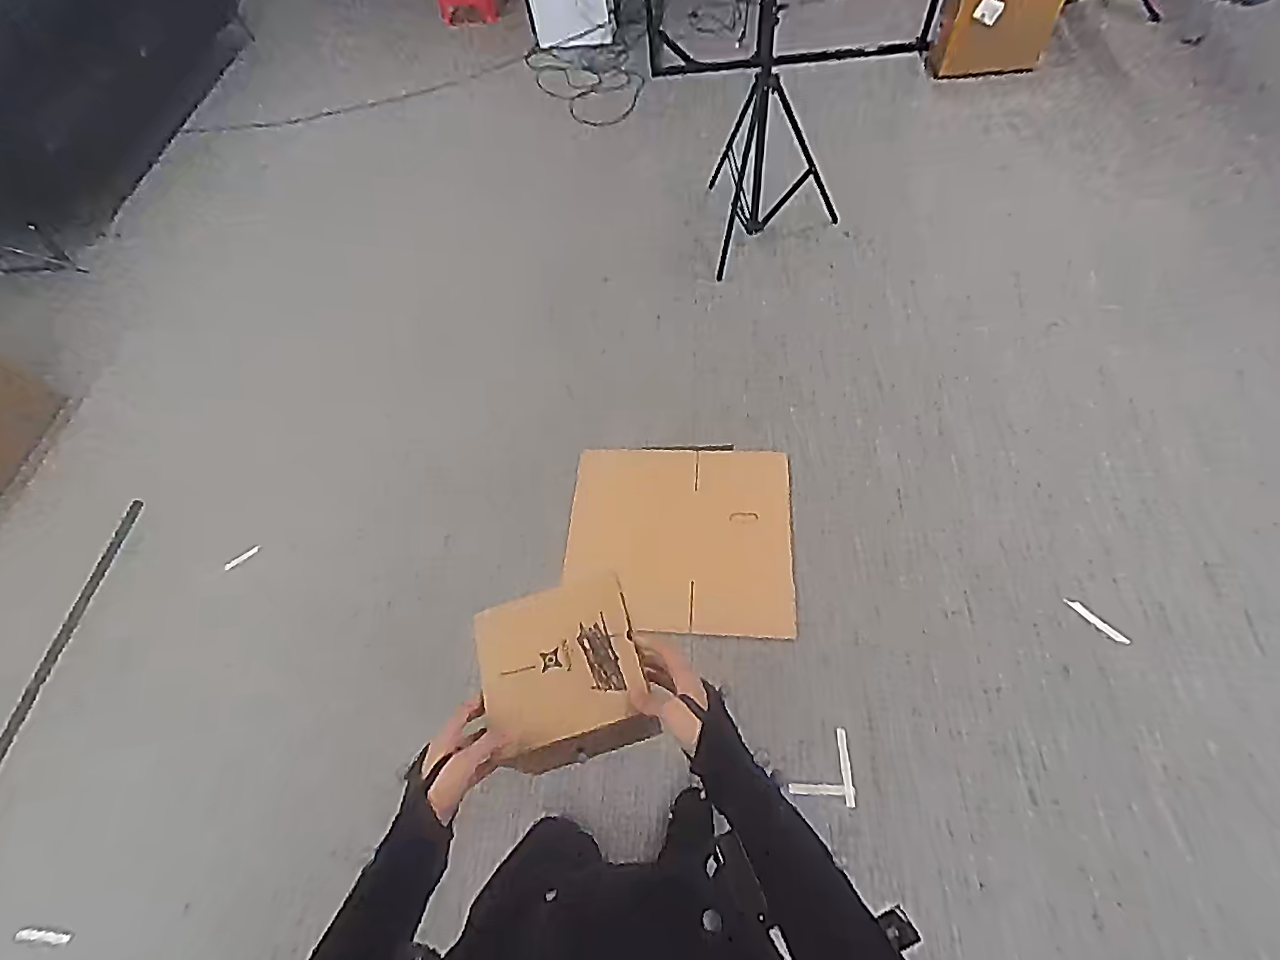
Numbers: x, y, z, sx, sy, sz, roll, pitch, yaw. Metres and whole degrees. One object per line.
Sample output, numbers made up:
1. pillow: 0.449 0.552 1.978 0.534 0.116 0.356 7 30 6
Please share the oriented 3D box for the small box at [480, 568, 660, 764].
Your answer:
1. small box: -0.077 0.233 0.666 0.179 0.176 0.168 -16 57 -3
